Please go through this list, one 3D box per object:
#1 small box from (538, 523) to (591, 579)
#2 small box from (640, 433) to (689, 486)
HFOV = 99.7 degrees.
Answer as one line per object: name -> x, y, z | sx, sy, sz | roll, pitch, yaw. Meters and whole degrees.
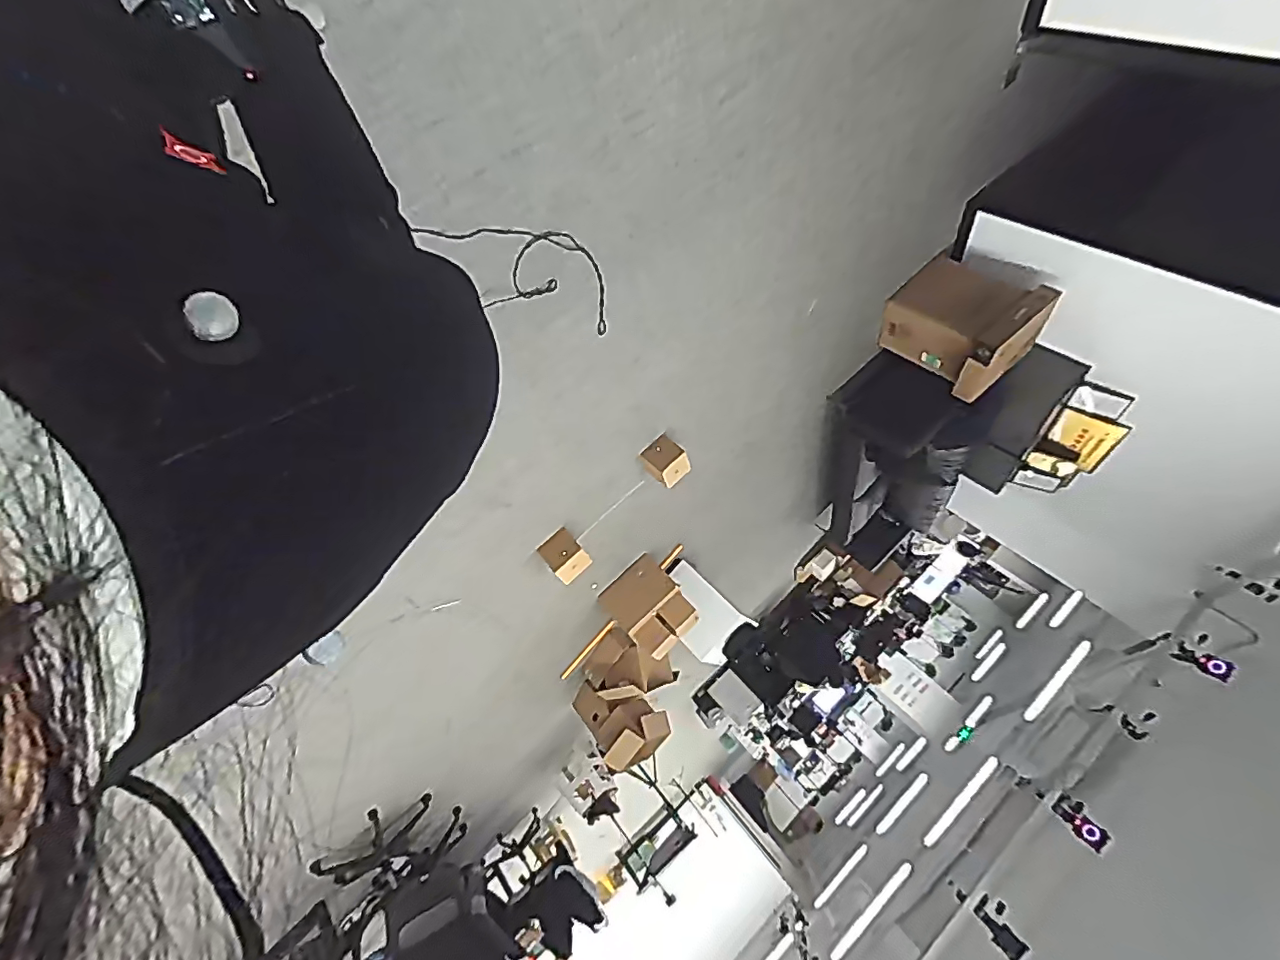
small box -> -0.375, 0.345, 2.634 | 0.179, 0.176, 0.168 | -42, 149, -11
small box -> 0.127, -0.109, 2.743 | 0.168, 0.176, 0.179 | -42, 149, -10
